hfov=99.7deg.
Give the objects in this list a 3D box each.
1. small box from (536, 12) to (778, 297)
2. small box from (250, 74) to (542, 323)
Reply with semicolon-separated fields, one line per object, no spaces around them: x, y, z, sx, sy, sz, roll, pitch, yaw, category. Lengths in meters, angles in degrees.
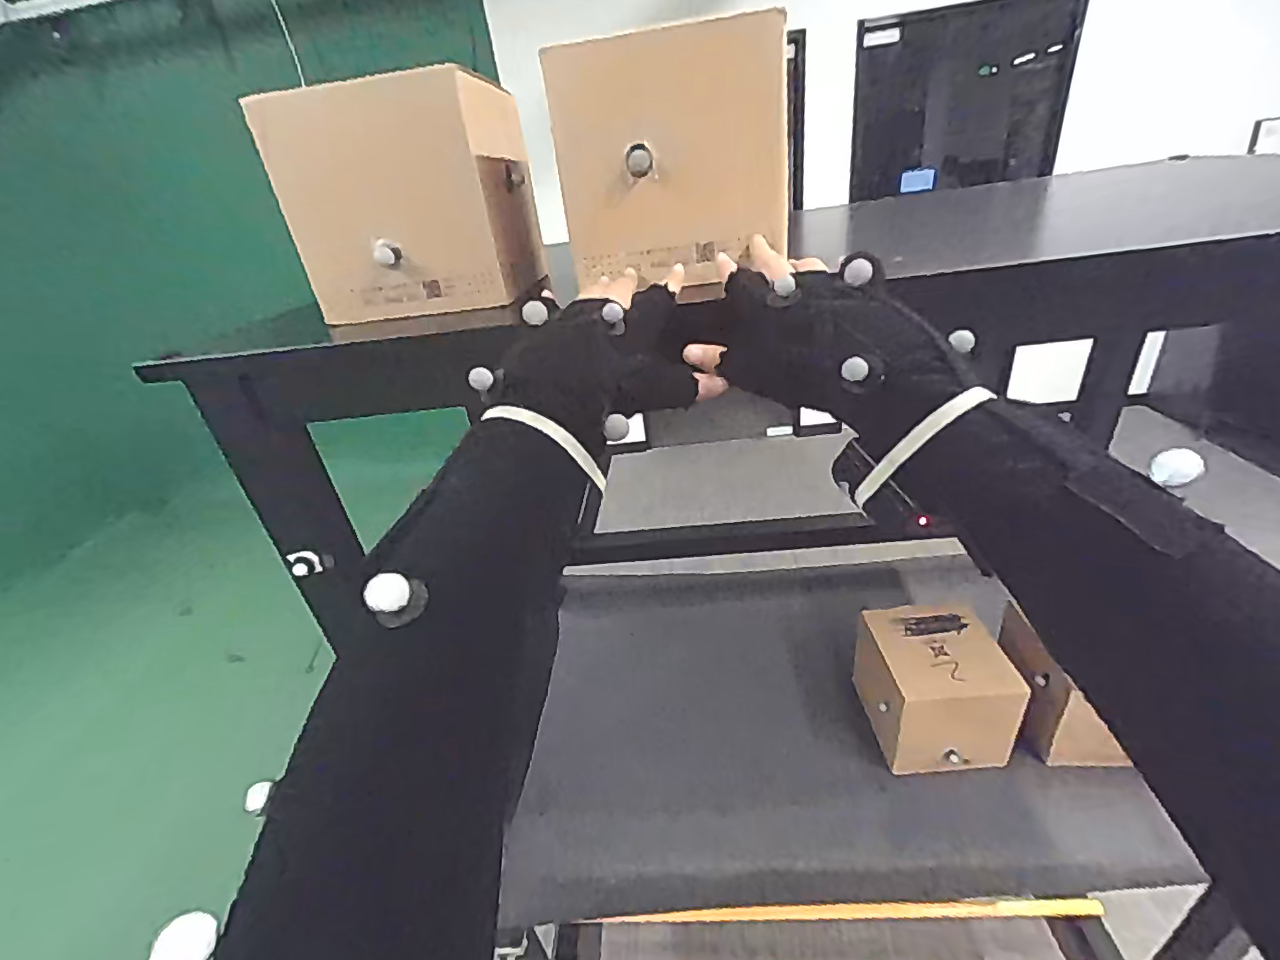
0.025;-0.262;0.468;0.168;0.176;0.179;-4;29;7;small box
-0.197;-0.252;0.503;0.168;0.176;0.179;-4;30;6;small box
